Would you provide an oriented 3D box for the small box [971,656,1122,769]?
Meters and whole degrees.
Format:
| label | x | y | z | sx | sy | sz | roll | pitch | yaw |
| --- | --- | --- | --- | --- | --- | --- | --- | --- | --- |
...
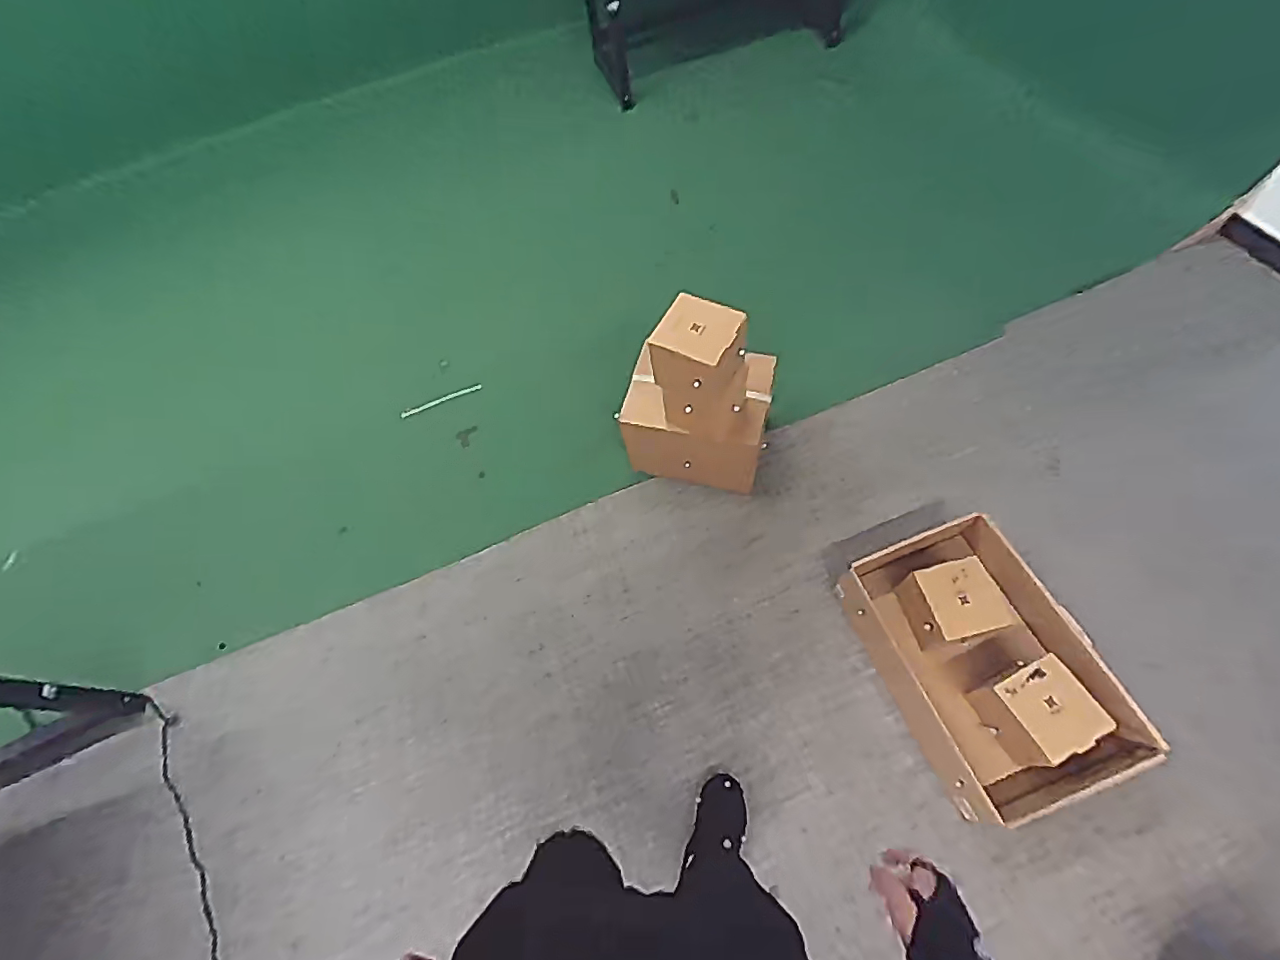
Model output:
| label | x | y | z | sx | sy | sz | roll | pitch | yaw |
| --- | --- | --- | --- | --- | --- | --- | --- | --- | --- |
| small box | 0.897 | 0.522 | 1.213 | 0.168 | 0.176 | 0.179 | -26 | 62 | -5 |

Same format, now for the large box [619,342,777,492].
| label | x | y | z | sx | sy | sz | roll | pitch | yaw |
| --- | --- | --- | --- | --- | --- | --- | --- | --- | --- |
| large box | 0.190 | -0.188 | 1.671 | 0.408 | 0.320 | 0.320 | 11 | 64 | 14 |

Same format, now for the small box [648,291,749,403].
| label | x | y | z | sx | sy | sz | roll | pitch | yaw |
| --- | --- | --- | --- | --- | --- | --- | --- | --- | --- |
| small box | 0.142 | -0.308 | 1.278 | 0.179 | 0.176 | 0.168 | 26 | 70 | 20 |

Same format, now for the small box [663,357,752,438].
| label | x | y | z | sx | sy | sz | roll | pitch | yaw |
| --- | --- | --- | --- | --- | --- | --- | --- | --- | --- |
| small box | 0.179 | -0.233 | 1.420 | 0.179 | 0.176 | 0.168 | 22 | 70 | 18 |
